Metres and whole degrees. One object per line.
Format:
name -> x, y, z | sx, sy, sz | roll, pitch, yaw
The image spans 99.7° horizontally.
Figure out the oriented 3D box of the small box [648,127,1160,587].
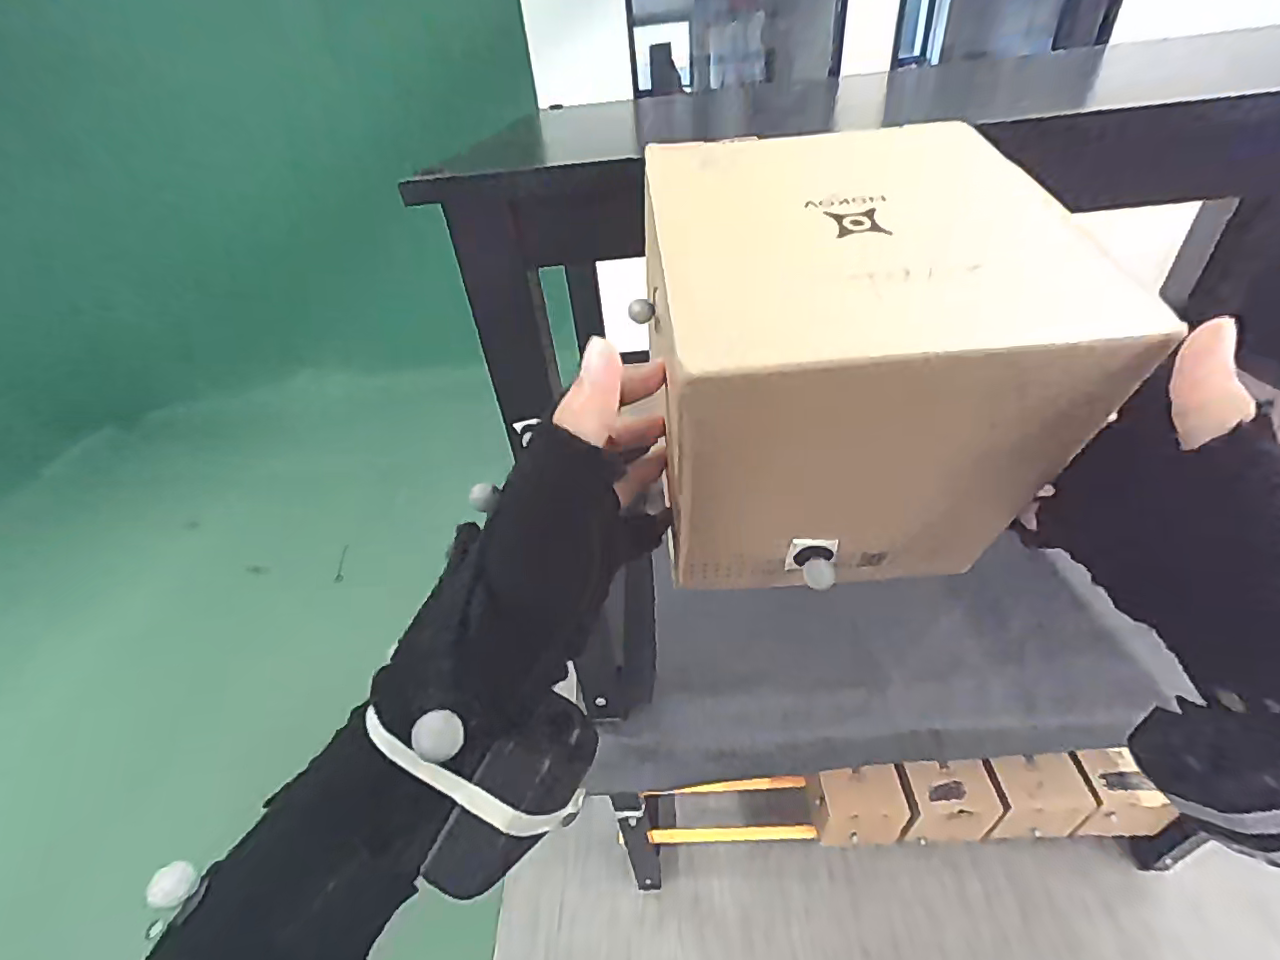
small box -> 0.092, -0.062, 0.295 | 0.168, 0.176, 0.179 | -5, 52, 0
